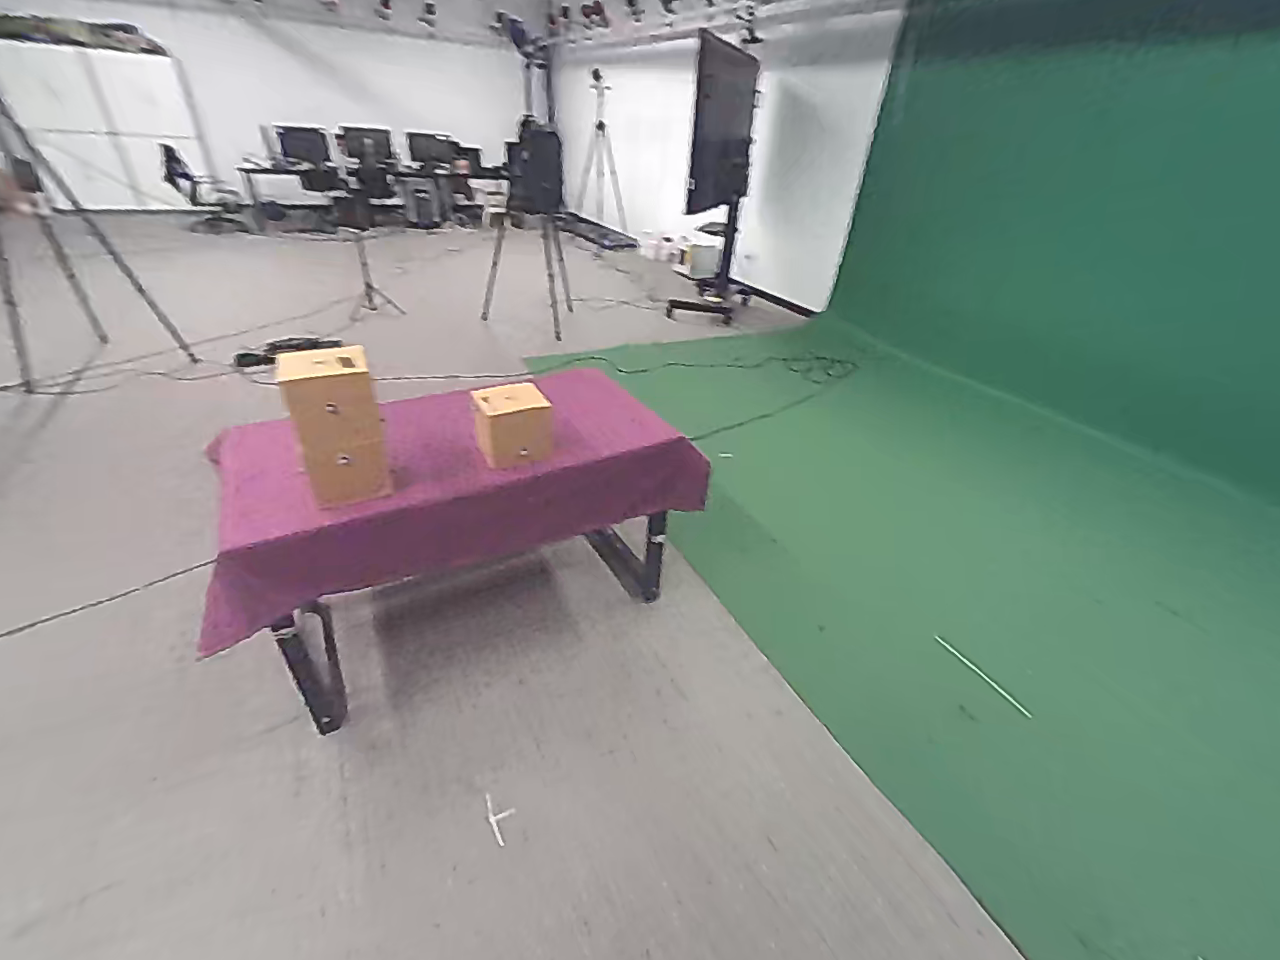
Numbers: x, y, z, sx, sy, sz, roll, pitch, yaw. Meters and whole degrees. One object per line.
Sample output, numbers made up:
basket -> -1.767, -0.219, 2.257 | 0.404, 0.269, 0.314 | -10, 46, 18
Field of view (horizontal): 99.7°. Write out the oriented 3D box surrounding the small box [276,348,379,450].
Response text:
small box -> -0.711, -0.188, 1.242 | 0.179, 0.176, 0.168 | -14, 38, -25

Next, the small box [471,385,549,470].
small box -> -0.366, -0.149, 1.523 | 0.179, 0.176, 0.168 | -14, 37, -26

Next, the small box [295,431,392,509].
small box -> -0.726, -0.049, 1.329 | 0.179, 0.176, 0.168 | -13, 38, -25
